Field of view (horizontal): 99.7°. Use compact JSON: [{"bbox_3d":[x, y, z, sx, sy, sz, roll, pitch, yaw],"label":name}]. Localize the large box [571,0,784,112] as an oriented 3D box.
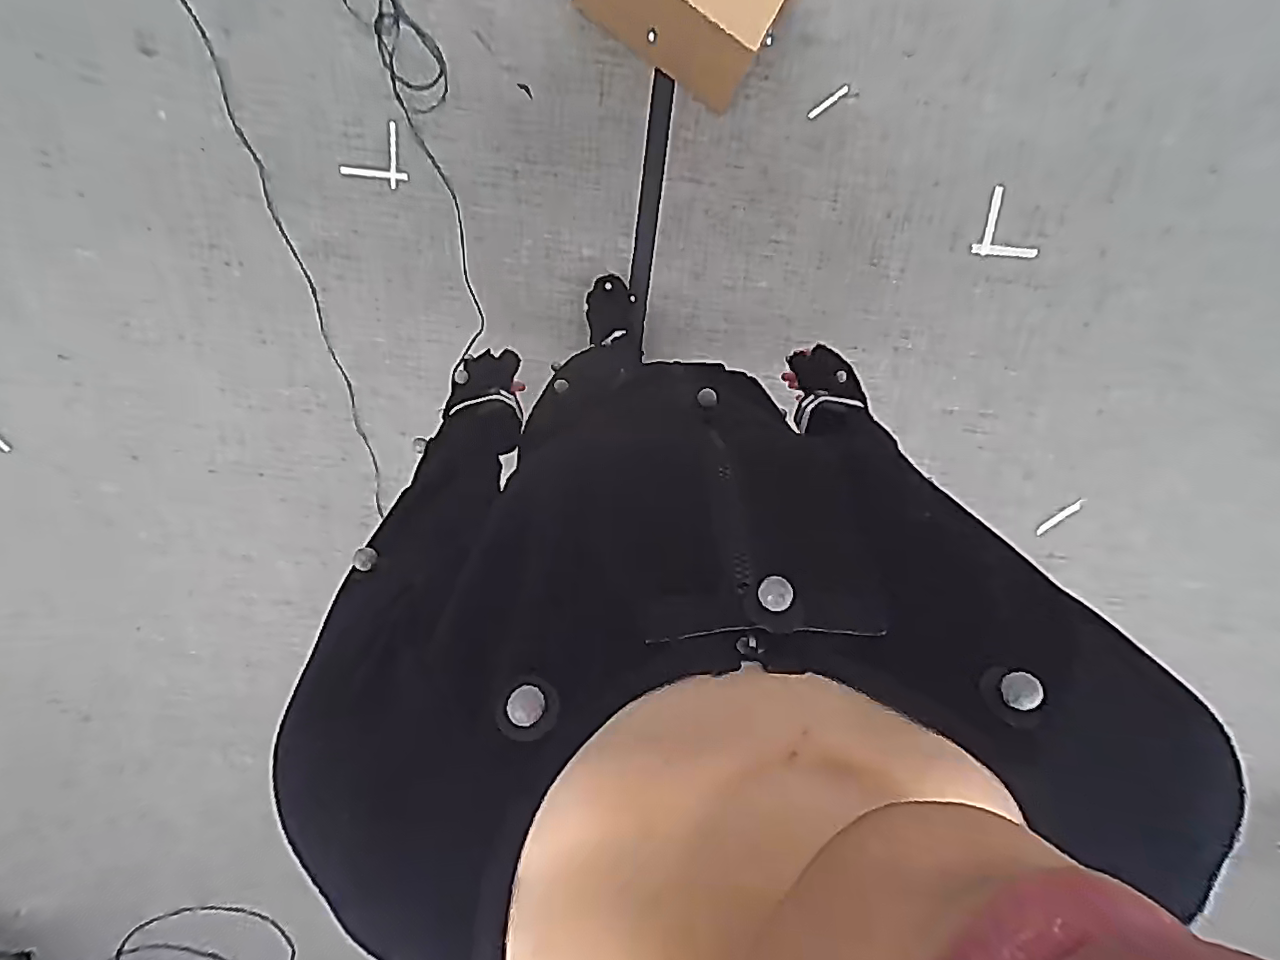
[{"bbox_3d":[0.100,-1.036,1.066,0.408,0.320,0.320,28,102,-10],"label":"large box"}]
